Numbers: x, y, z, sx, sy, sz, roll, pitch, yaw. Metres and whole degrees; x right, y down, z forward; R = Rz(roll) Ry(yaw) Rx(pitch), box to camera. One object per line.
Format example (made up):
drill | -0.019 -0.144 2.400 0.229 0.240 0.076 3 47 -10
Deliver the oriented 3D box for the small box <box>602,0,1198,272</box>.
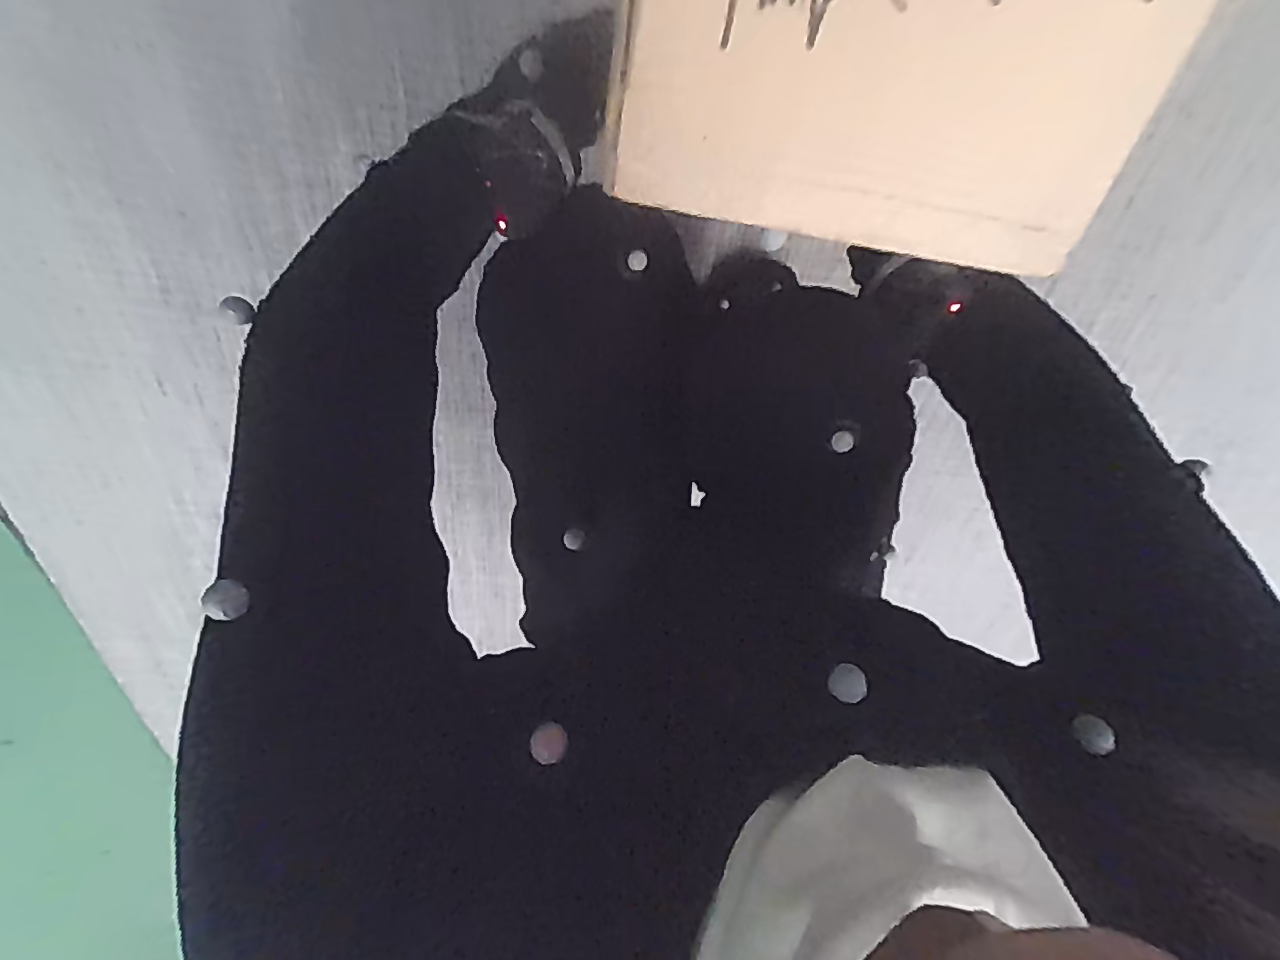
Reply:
small box | 0.083 -0.203 0.221 0.179 0.176 0.168 7 124 -9
